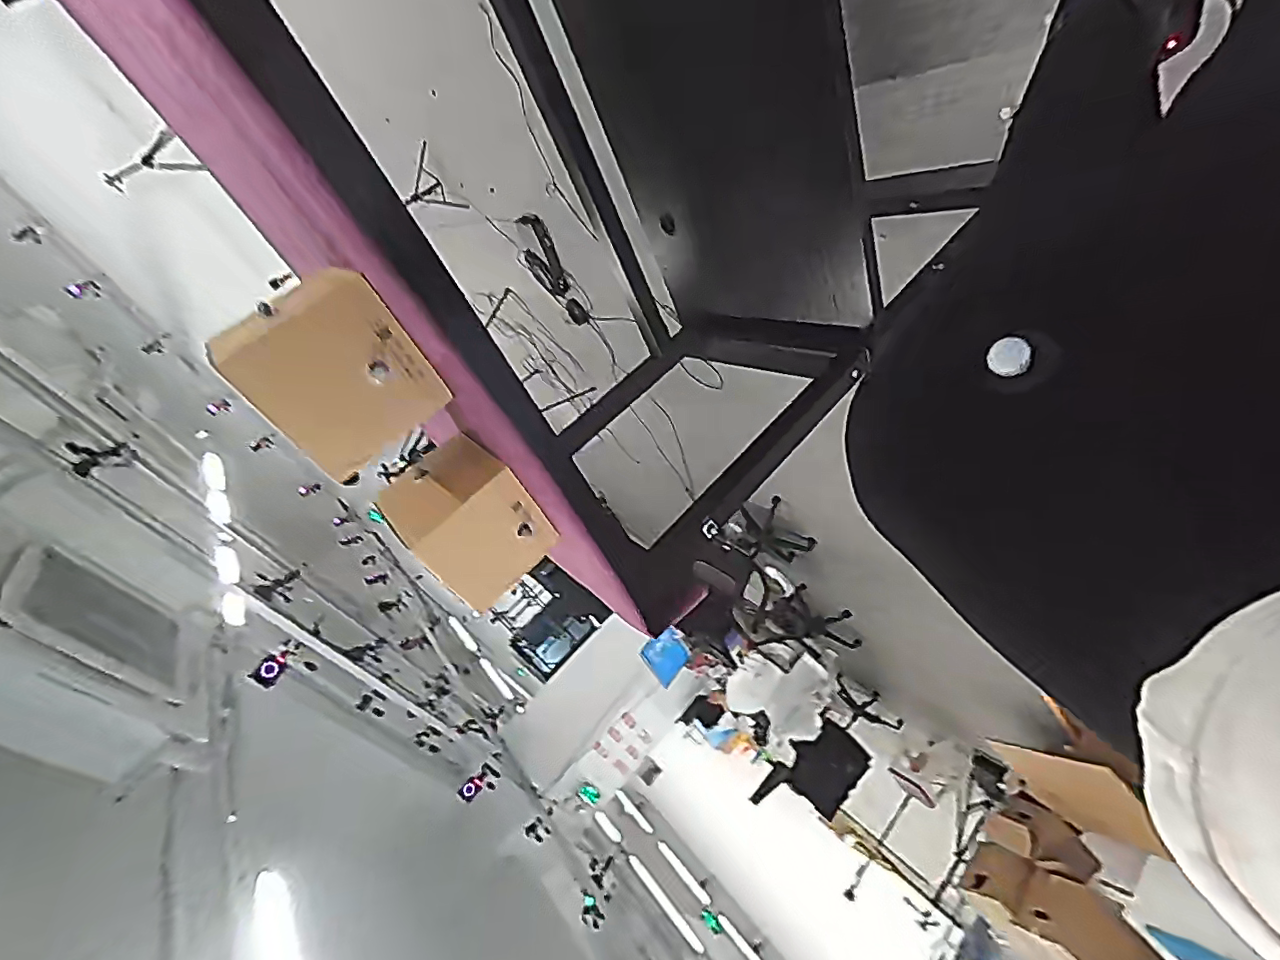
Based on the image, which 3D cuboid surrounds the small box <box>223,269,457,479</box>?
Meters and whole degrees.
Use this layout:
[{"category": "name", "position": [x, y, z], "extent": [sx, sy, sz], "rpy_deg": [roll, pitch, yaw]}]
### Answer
[{"category": "small box", "position": [-0.353, -0.136, 0.650], "extent": [0.179, 0.176, 0.168], "rpy_deg": [28, 155, 46]}]

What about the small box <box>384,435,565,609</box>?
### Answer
[{"category": "small box", "position": [-0.245, 0.054, 0.821], "extent": [0.179, 0.176, 0.168], "rpy_deg": [29, 156, 45]}]
